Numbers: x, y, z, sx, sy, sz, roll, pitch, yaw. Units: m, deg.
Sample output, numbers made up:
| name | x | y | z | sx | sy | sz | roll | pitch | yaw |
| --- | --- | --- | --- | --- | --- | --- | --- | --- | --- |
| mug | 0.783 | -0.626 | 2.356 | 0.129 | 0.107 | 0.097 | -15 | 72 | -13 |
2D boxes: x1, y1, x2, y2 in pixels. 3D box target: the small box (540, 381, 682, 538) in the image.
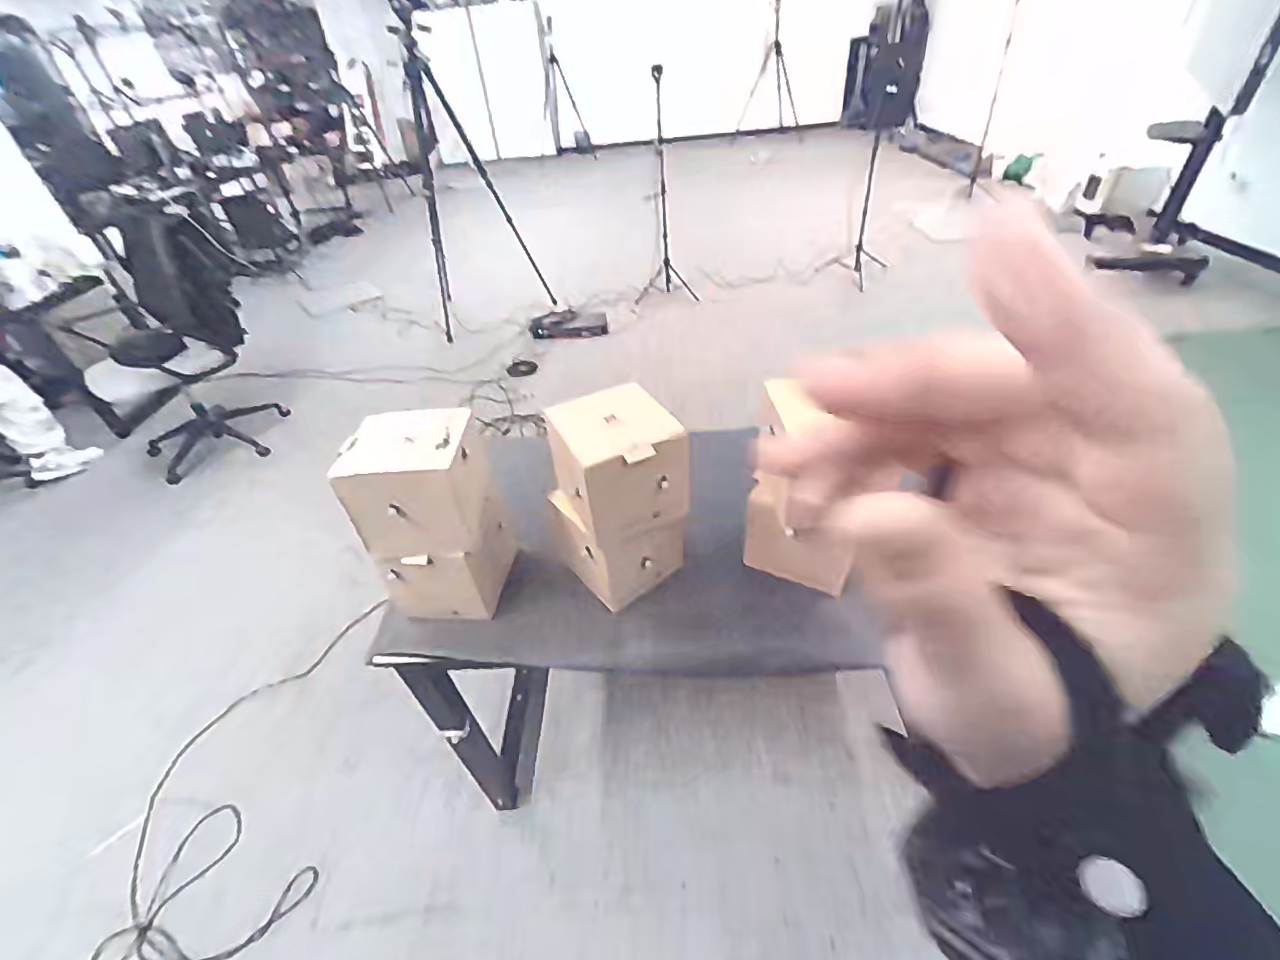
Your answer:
| name | x | y | z | sx | sy | sz | roll | pitch | yaw |
| --- | --- | --- | --- | --- | --- | --- | --- | --- | --- |
| small box | -0.042 | -0.028 | 0.866 | 0.168 | 0.176 | 0.179 | -21 | 41 | -19 |

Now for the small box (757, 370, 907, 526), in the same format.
| name | x | y | z | sx | sy | sz | roll | pitch | yaw |
| --- | --- | --- | --- | --- | --- | --- | --- | --- | --- |
| small box | 0.285 | -0.051 | 0.848 | 0.168 | 0.176 | 0.179 | -7 | 40 | 1 |

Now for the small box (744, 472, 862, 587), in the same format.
| name | x | y | z | sx | sy | sz | roll | pitch | yaw |
| --- | --- | --- | --- | --- | --- | --- | --- | --- | --- |
| small box | 0.297 | 0.065 | 0.965 | 0.179 | 0.176 | 0.168 | 16 | 45 | 26 |

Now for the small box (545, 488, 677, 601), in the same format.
| name | x | y | z | sx | sy | sz | roll | pitch | yaw |
| --- | --- | --- | --- | --- | --- | --- | --- | --- | --- |
| small box | -0.046 | 0.092 | 0.976 | 0.168 | 0.176 | 0.179 | -30 | 46 | -27 |

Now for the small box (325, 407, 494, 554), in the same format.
| name | x | y | z | sx | sy | sz | roll | pitch | yaw |
| --- | --- | --- | --- | --- | --- | --- | --- | --- | --- |
| small box | -0.352 | 0.003 | 0.864 | 0.179 | 0.176 | 0.168 | -5 | 39 | 1 |
